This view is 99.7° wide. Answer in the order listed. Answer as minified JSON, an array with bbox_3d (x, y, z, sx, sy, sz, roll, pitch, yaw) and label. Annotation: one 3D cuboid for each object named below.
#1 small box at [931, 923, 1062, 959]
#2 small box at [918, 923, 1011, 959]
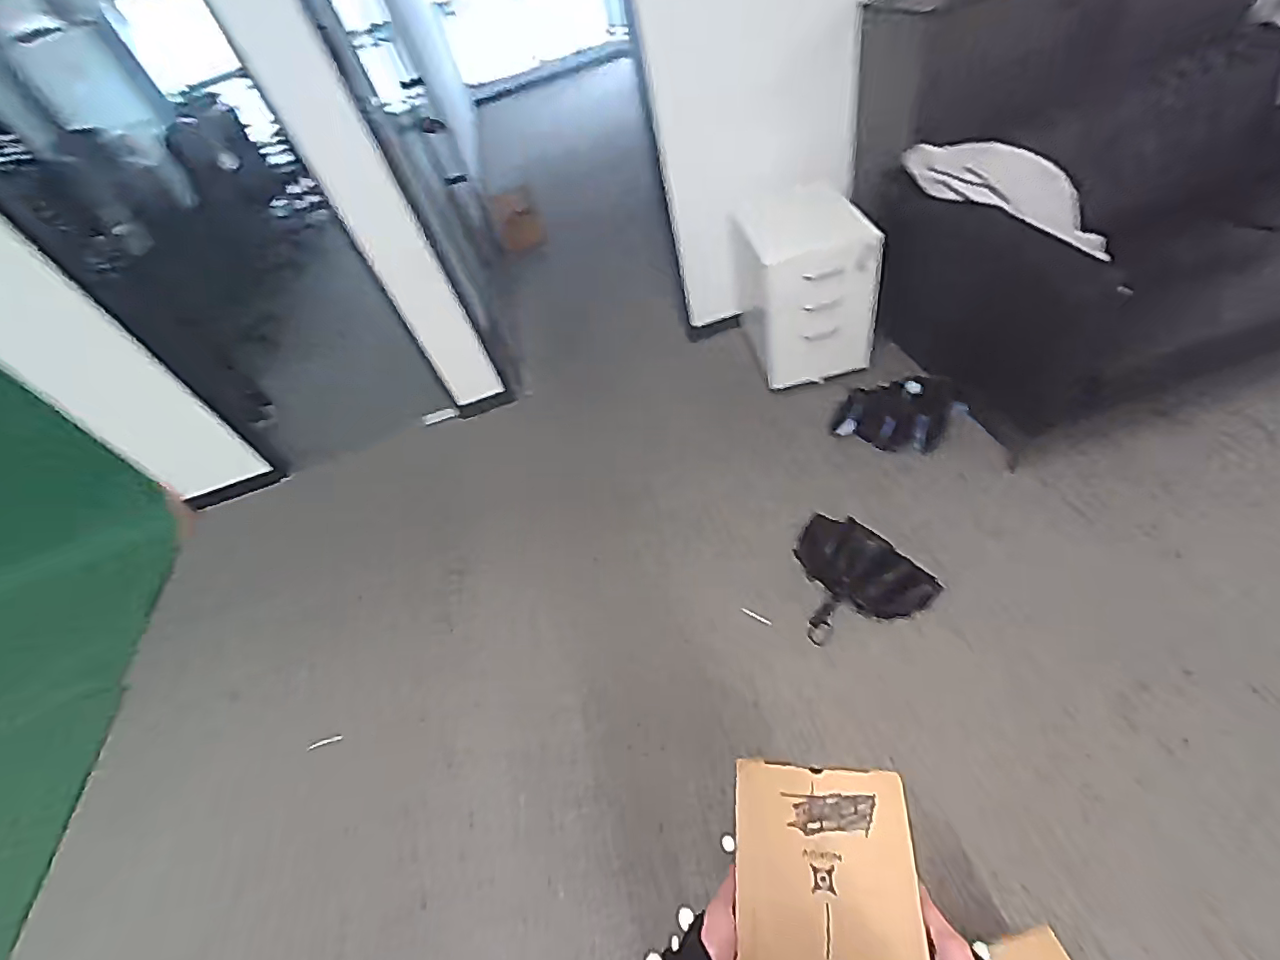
[{"bbox_3d":[0.601,0.850,0.876,0.179,0.176,0.168,-19,49,-1],"label":"small box"},{"bbox_3d":[0.639,0.951,0.997,0.179,0.176,0.168,-20,48,0],"label":"small box"}]
